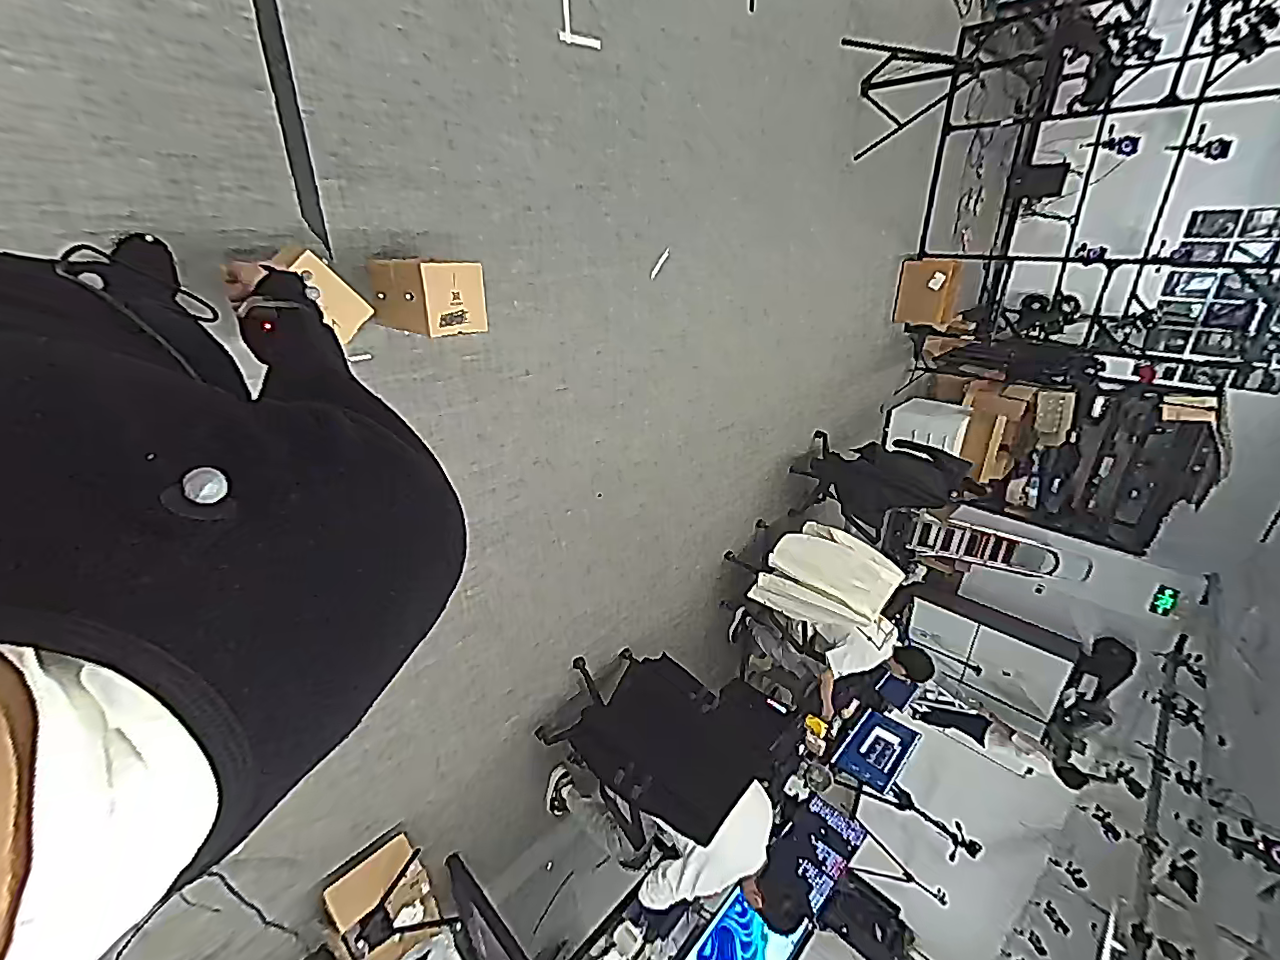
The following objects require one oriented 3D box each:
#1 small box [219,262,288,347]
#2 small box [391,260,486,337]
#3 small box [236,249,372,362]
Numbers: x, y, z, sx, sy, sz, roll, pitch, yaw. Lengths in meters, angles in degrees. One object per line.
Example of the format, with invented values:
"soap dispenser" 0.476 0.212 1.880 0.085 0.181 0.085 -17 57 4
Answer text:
"small box" -0.876 -0.429 1.301 0.168 0.176 0.179 -26 125 -39
"small box" -0.526 -0.478 1.411 0.168 0.176 0.179 -22 122 -42
"small box" -0.750 -0.389 1.204 0.168 0.176 0.179 -56 140 -14
